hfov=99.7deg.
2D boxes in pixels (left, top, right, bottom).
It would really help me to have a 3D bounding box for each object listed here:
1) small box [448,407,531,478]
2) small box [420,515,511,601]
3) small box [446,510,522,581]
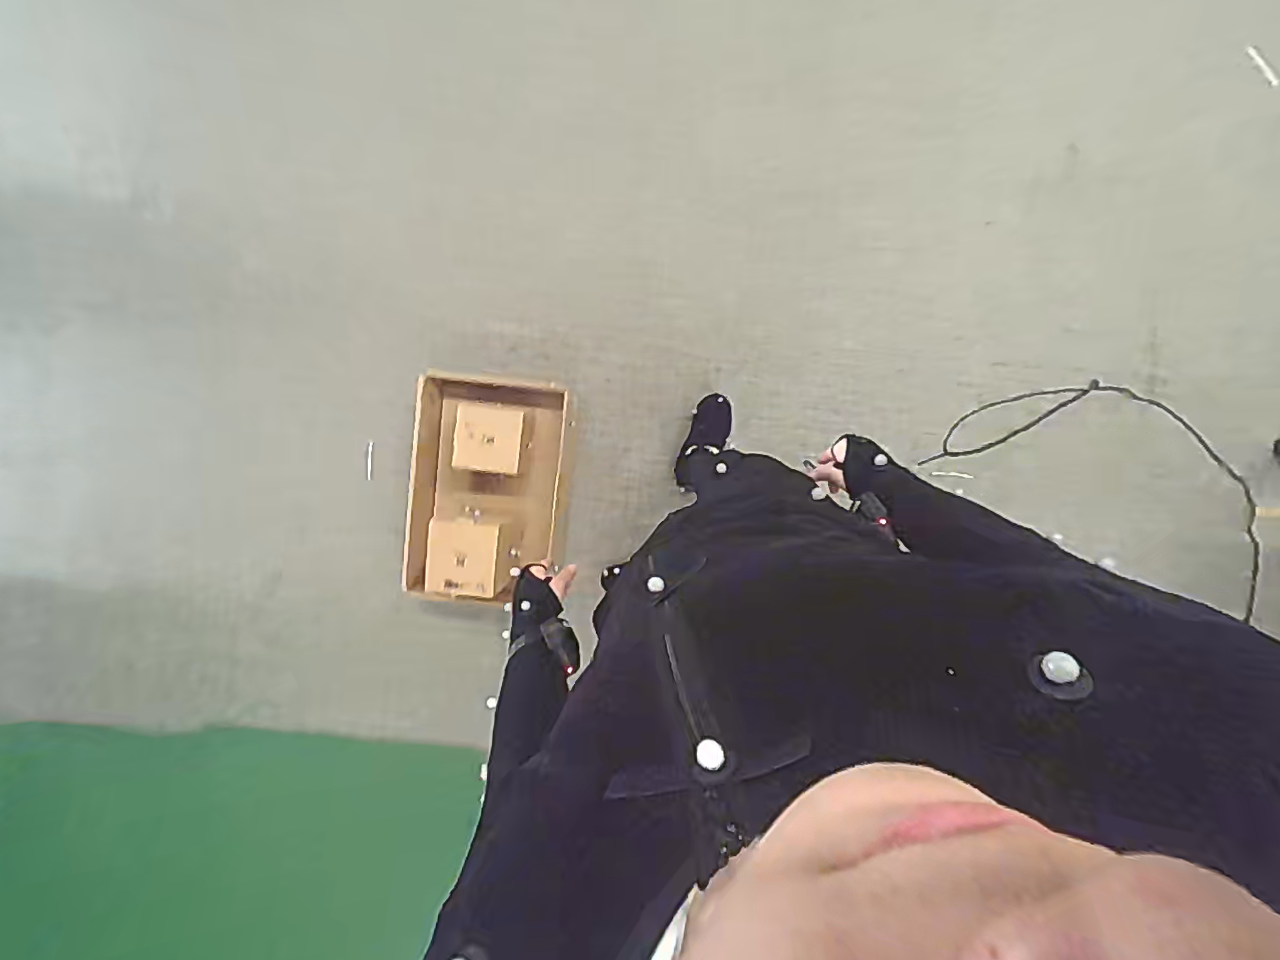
[{"bbox_3d":[-0.404,-0.105,1.479,0.179,0.176,0.168,8,95,0],"label":"small box"},{"bbox_3d":[-0.423,0.186,1.335,0.168,0.176,0.179,6,92,1],"label":"small box"},{"bbox_3d":[-0.434,0.179,1.499,0.179,0.176,0.168,6,93,1],"label":"small box"}]
